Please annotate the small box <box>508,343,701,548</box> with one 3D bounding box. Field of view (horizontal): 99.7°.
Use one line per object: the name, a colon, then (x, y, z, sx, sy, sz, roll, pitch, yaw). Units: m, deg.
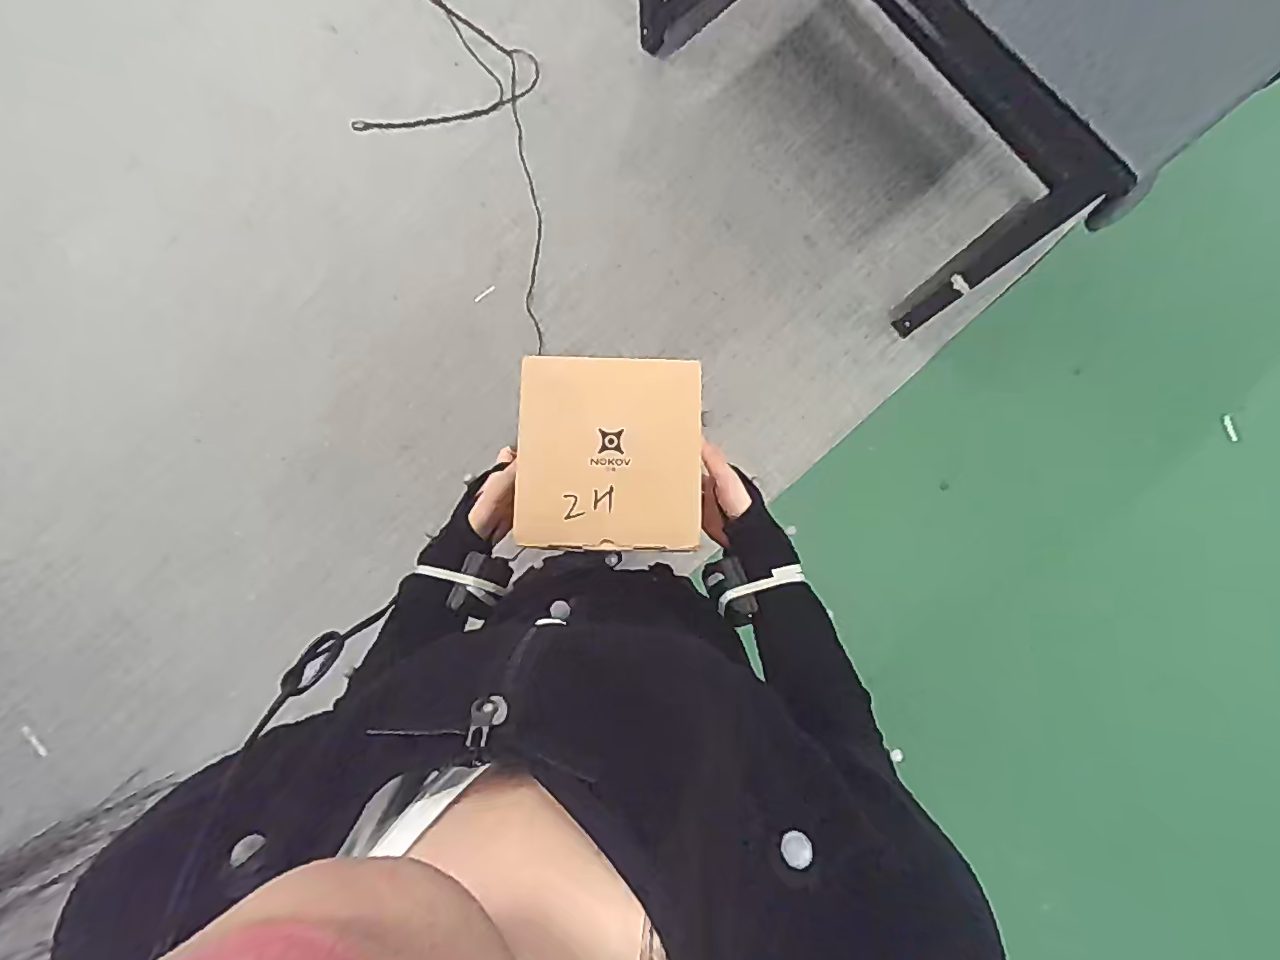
small box: (-0.031, -0.023, 0.552, 0.168, 0.176, 0.179, 1, 82, -1)
